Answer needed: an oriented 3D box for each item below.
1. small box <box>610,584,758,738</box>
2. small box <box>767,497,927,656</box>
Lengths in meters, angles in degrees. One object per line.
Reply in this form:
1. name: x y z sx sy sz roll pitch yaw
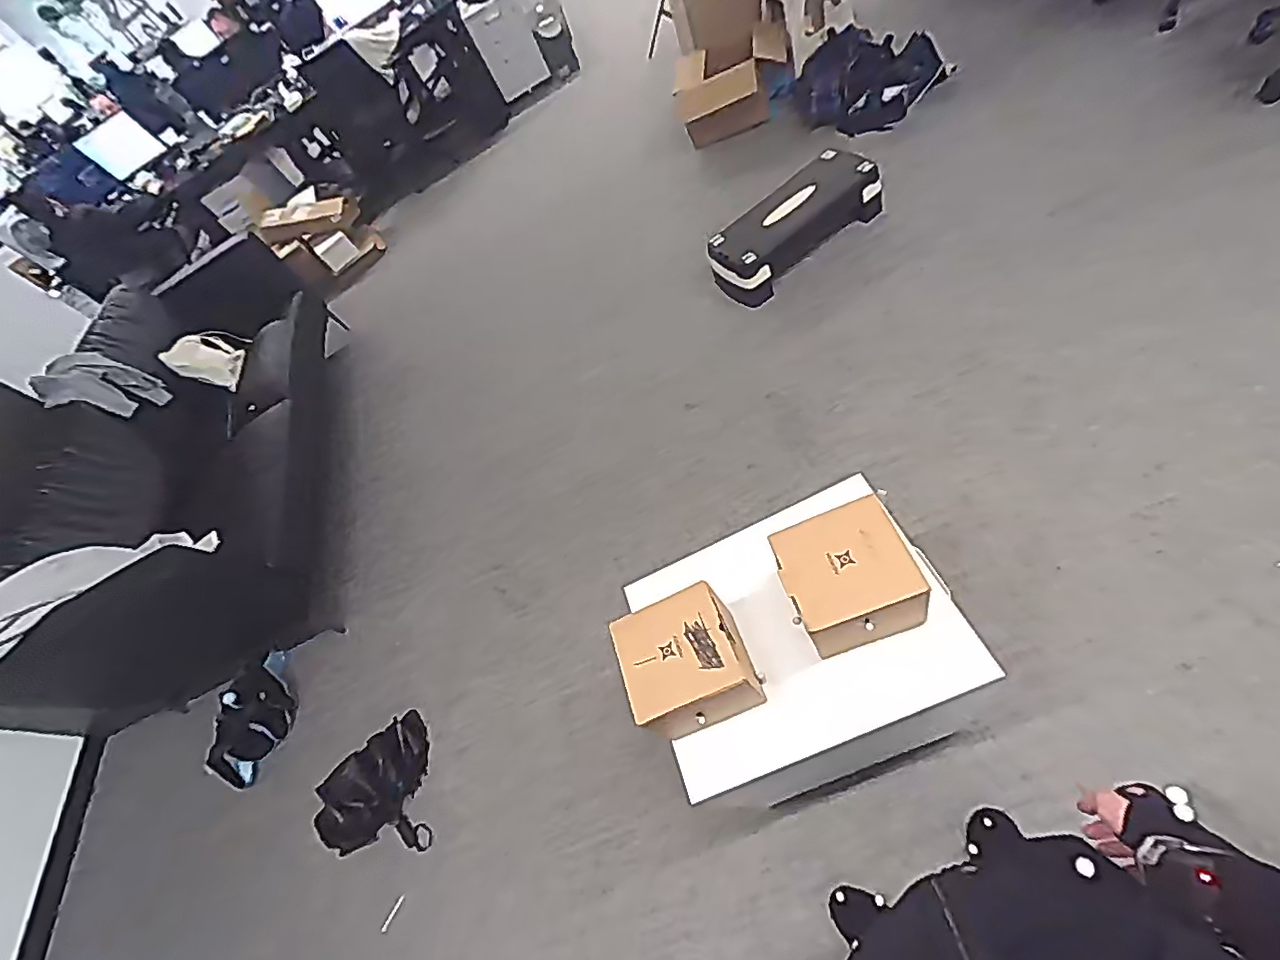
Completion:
1. small box: 0.078 0.298 0.876 0.179 0.176 0.168 -27 52 9
2. small box: 0.323 0.160 0.849 0.179 0.176 0.168 -24 54 10
